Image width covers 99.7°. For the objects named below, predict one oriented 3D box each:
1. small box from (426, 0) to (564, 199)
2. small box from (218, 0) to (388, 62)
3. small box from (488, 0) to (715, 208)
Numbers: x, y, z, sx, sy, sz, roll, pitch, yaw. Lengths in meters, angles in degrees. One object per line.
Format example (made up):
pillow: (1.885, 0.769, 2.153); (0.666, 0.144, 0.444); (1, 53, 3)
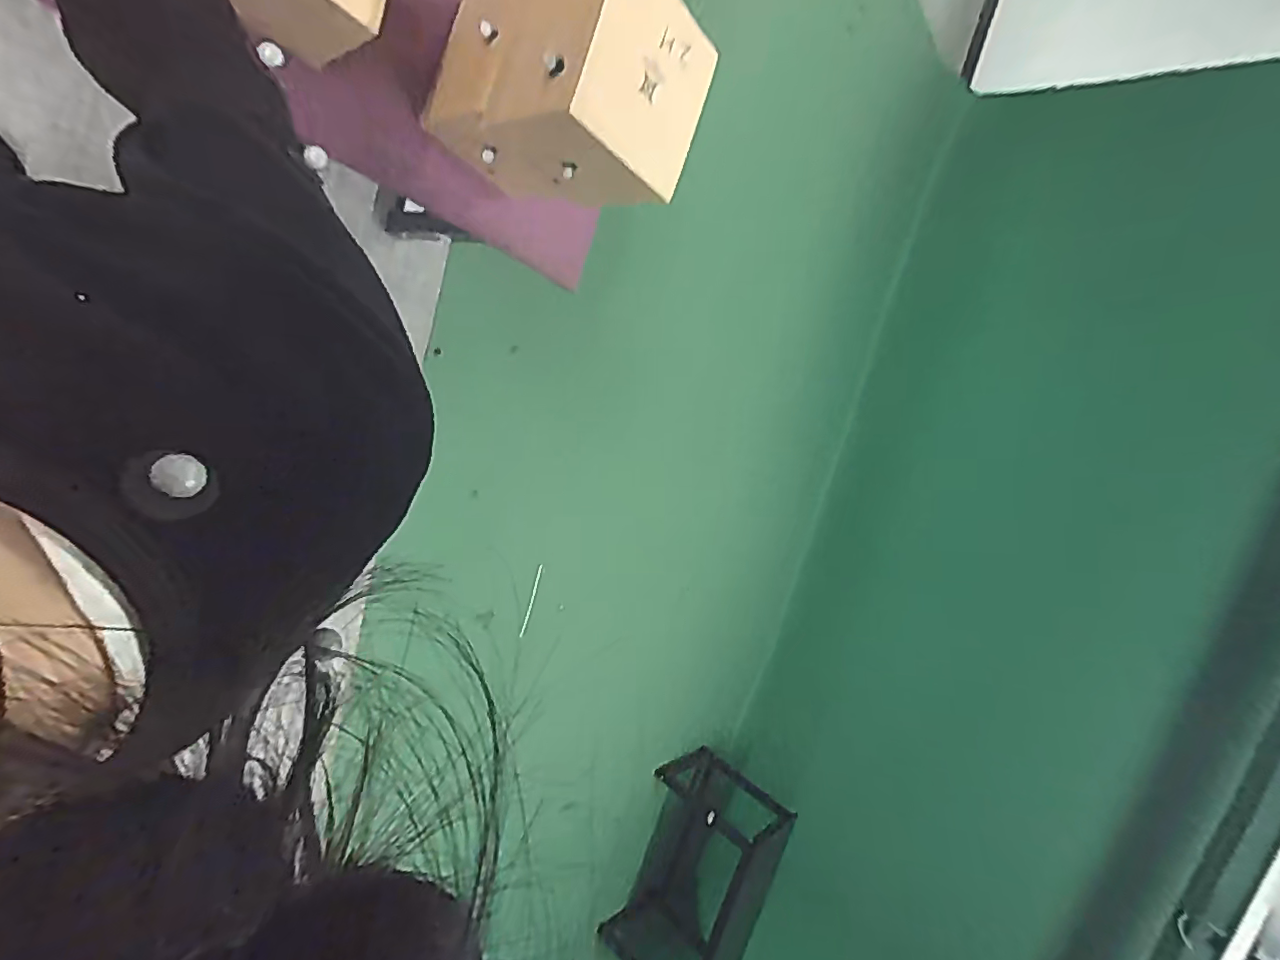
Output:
small box: (-0.159, -0.502, 0.724); (0.168, 0.176, 0.179); (19, 93, -51)
small box: (-0.340, -0.534, 0.498); (0.179, 0.176, 0.168); (12, 97, -51)
small box: (-0.048, -0.437, 0.620); (0.168, 0.176, 0.179); (14, 97, -51)
